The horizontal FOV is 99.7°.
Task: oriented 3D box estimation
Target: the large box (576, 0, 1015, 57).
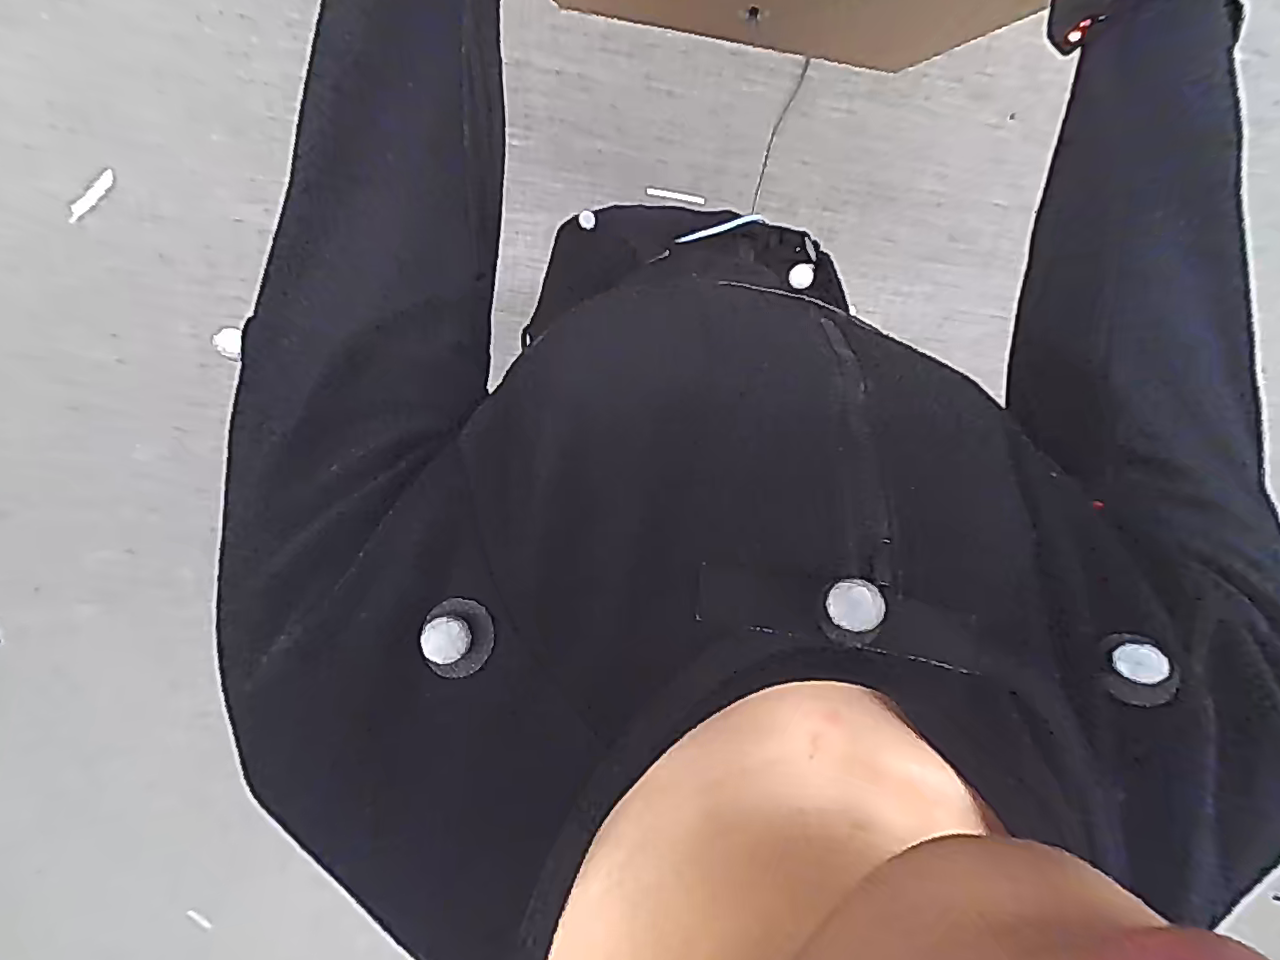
[{"bbox_3d":[0.128,-0.576,0.422,0.408,0.320,0.320,8,118,-3],"label":"large box"}]
